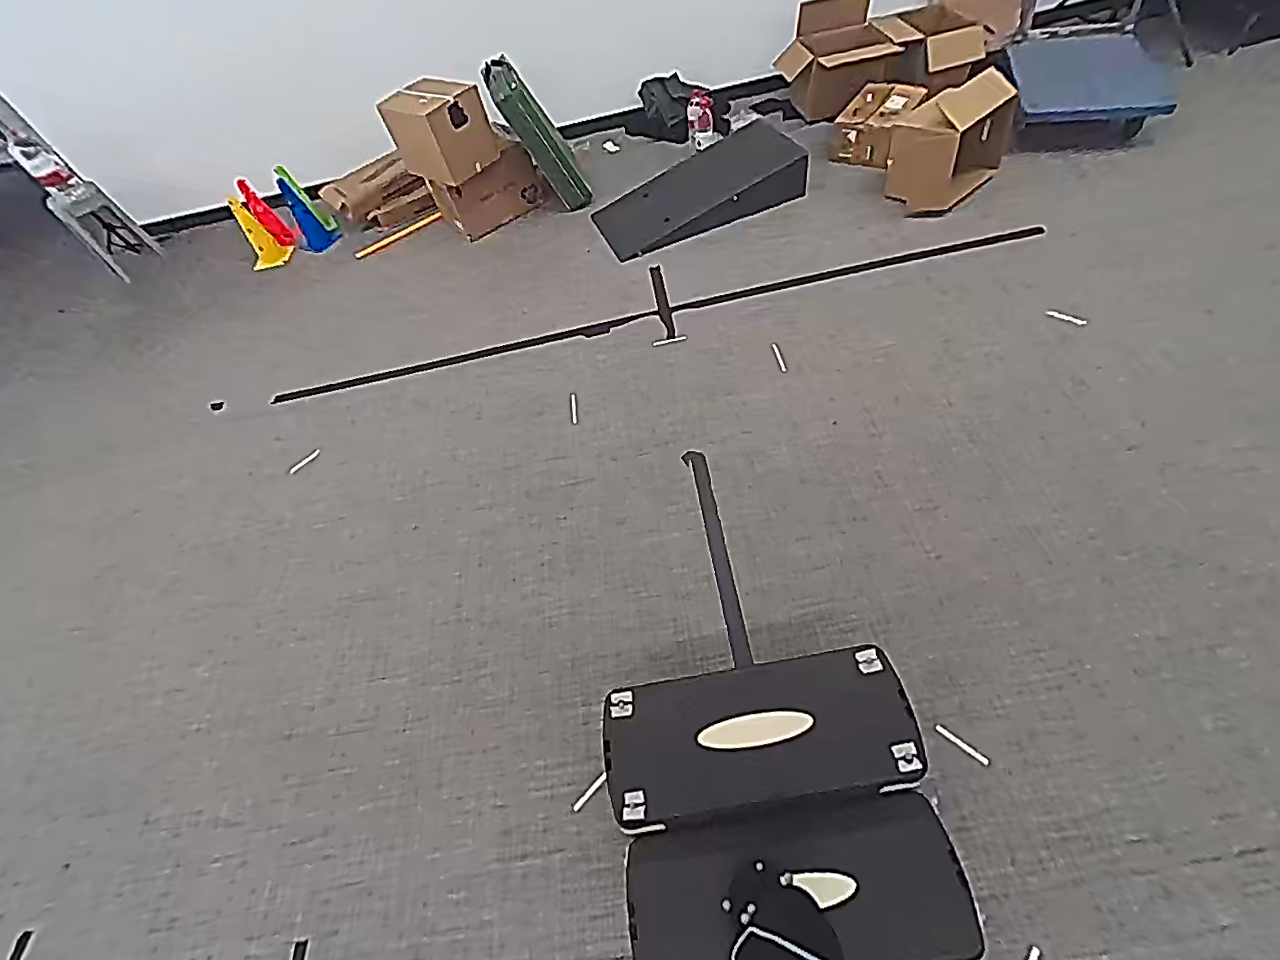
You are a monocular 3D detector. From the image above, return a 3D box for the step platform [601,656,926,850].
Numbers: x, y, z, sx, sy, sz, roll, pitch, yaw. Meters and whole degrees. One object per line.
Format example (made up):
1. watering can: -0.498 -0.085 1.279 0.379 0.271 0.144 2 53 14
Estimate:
1. step platform: 0.254 0.611 1.218 0.684 0.204 0.286 -12 54 2
